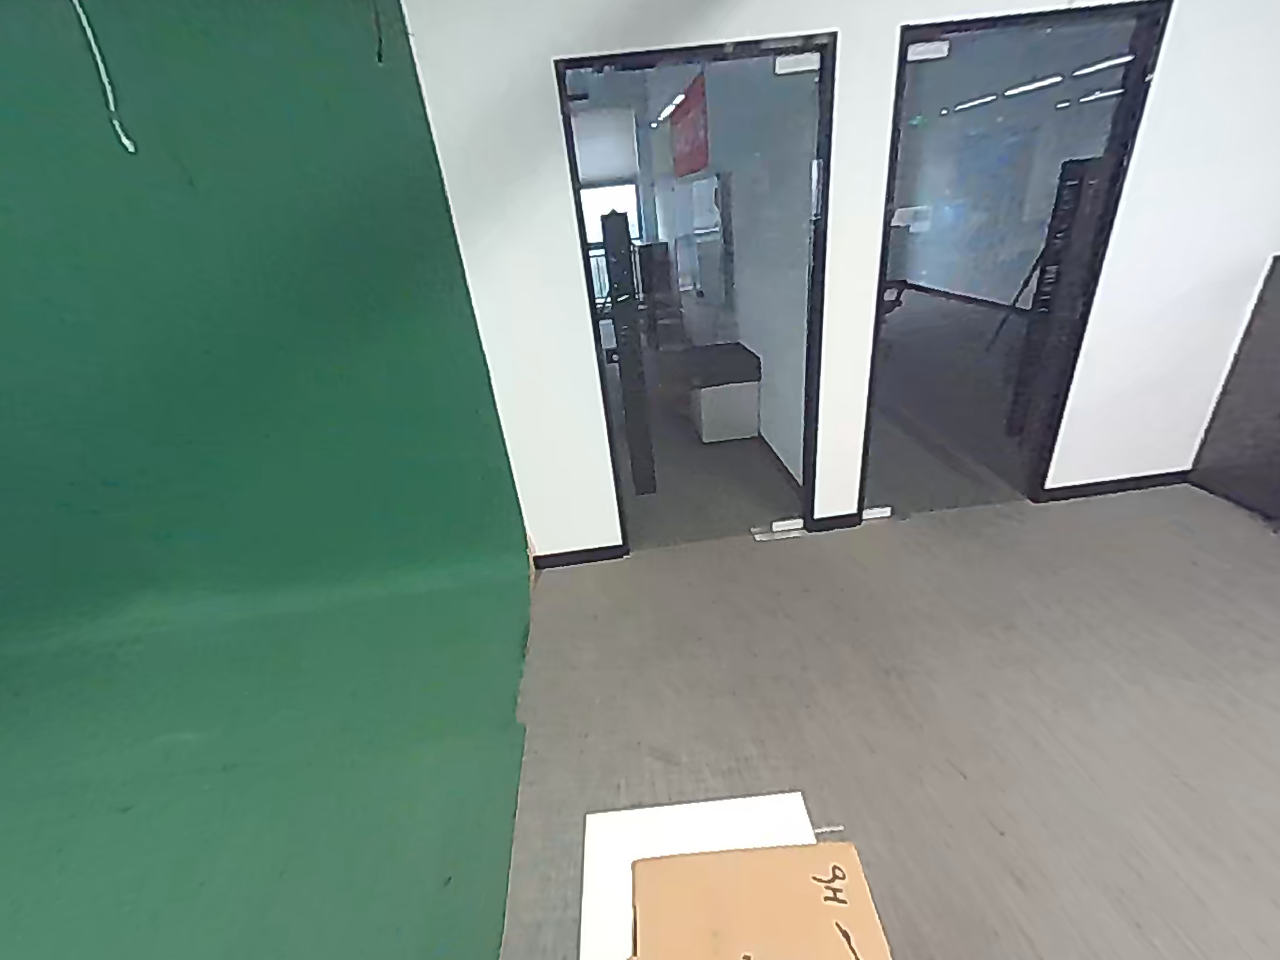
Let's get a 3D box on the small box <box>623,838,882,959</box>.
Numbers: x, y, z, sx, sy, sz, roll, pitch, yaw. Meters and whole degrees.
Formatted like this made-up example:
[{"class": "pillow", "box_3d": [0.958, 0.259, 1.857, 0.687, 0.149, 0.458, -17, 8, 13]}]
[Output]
[{"class": "small box", "box_3d": [0.084, 0.399, 0.401, 0.179, 0.176, 0.168, -5, 33, 2]}]
